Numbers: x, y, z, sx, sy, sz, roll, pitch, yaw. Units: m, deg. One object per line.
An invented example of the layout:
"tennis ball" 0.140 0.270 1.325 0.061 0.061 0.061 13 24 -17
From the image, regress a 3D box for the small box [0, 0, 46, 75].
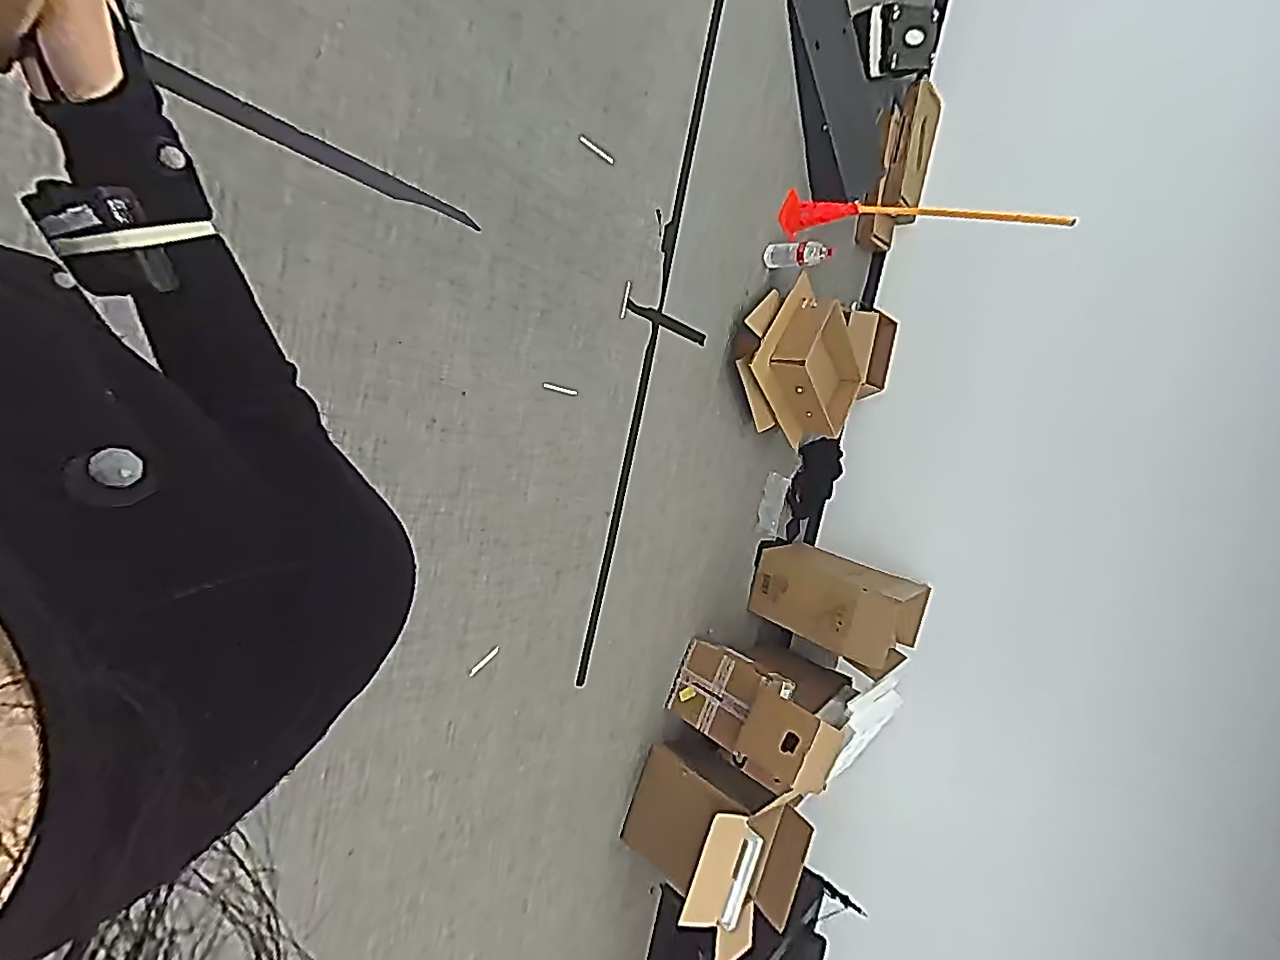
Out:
"small box" -0.352 -0.295 0.198 0.168 0.176 0.179 -14 108 -52
